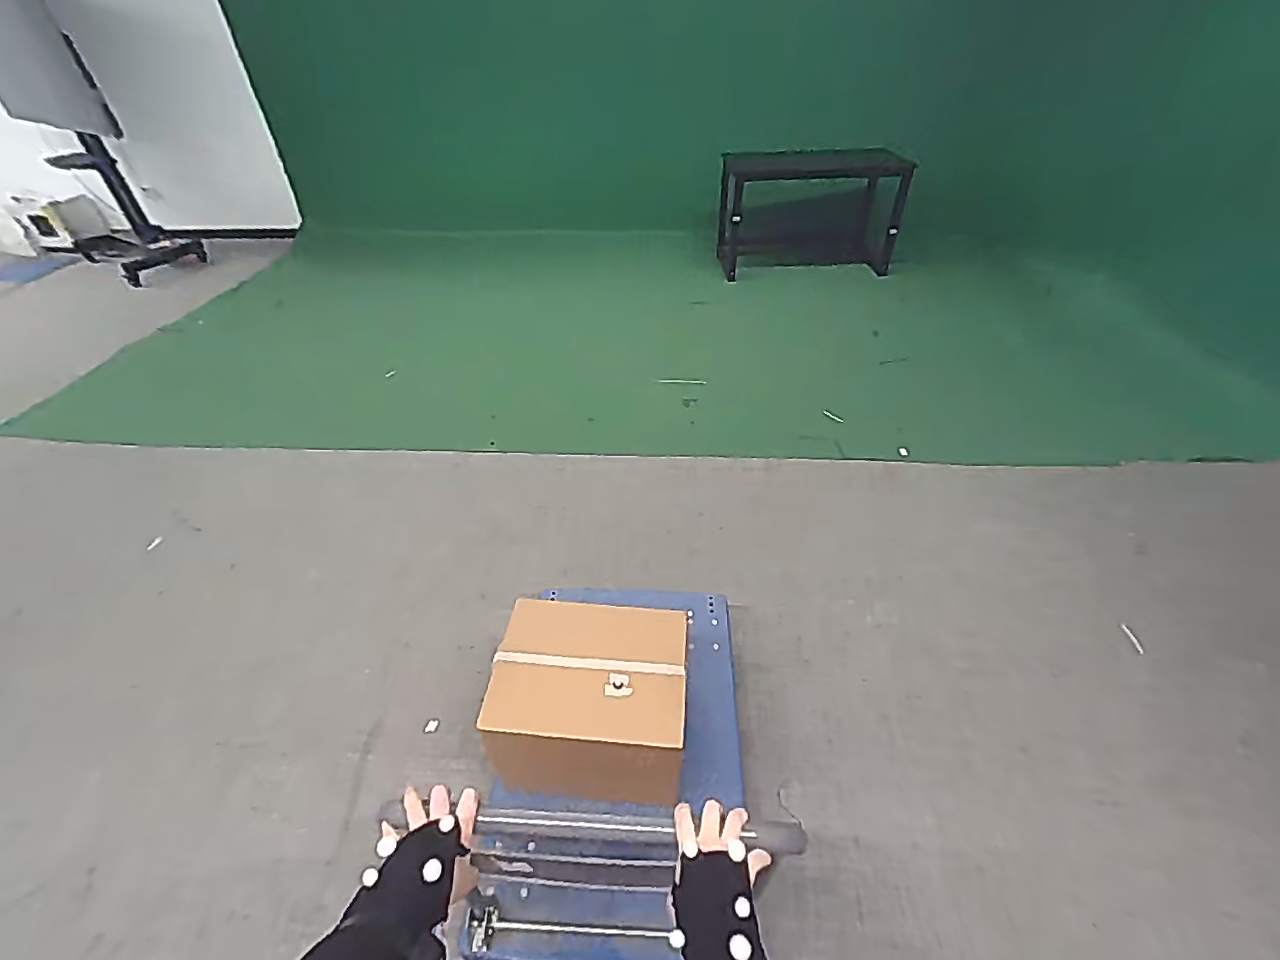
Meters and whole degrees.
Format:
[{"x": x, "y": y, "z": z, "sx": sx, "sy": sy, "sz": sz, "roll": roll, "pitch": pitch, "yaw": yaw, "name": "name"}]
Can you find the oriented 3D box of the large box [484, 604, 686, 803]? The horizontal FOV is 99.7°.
[{"x": -0.105, "y": 0.517, "z": 1.260, "sx": 0.408, "sy": 0.320, "sz": 0.320, "roll": 4, "pitch": 40, "yaw": 3, "name": "large box"}]
